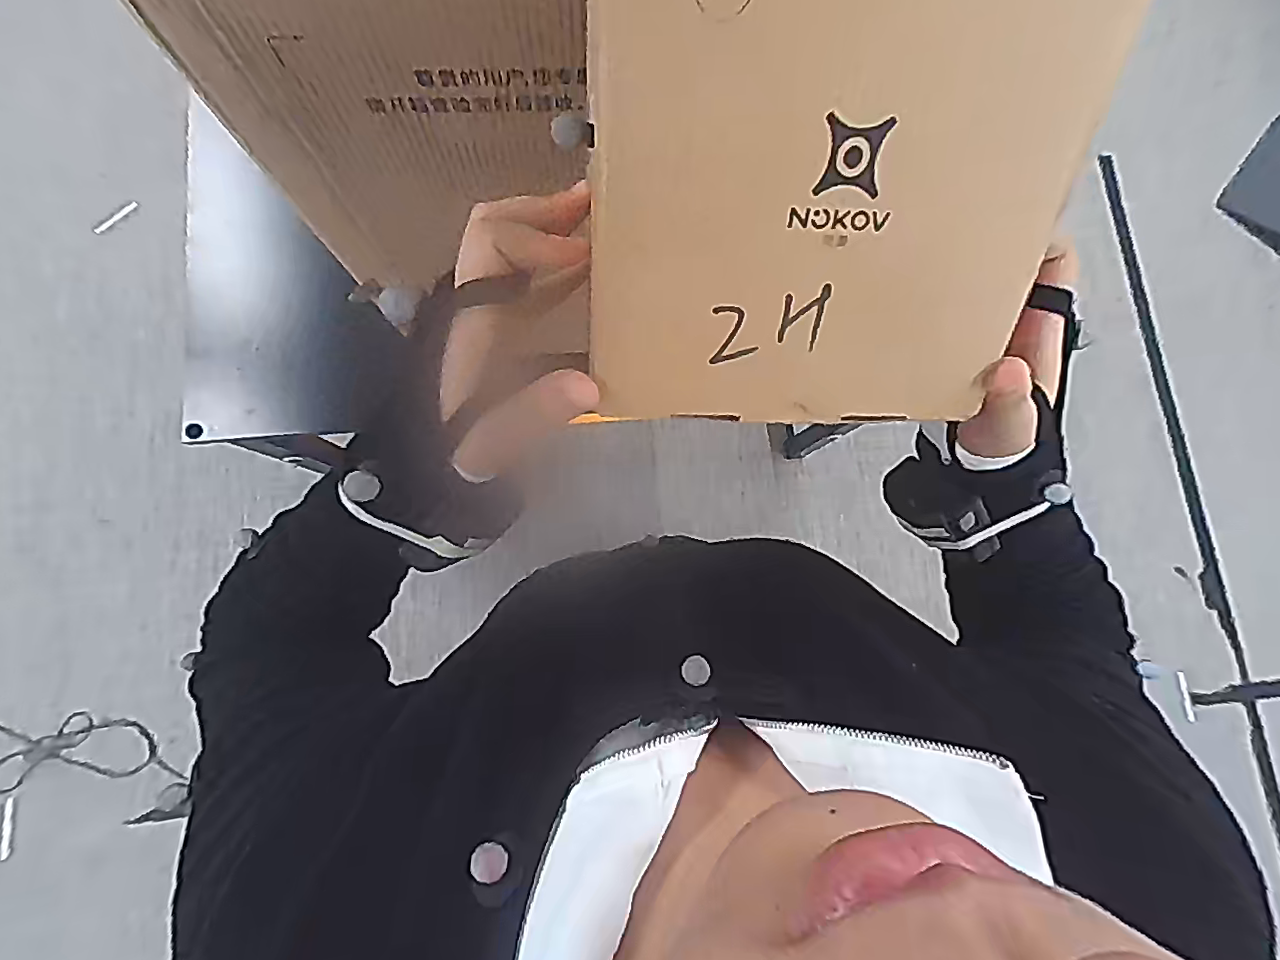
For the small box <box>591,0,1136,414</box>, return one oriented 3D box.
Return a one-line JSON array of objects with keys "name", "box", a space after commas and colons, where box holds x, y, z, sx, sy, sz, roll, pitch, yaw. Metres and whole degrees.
[{"name": "small box", "box": [0.062, -0.144, 0.255, 0.168, 0.176, 0.179, 0, 120, -6]}]
